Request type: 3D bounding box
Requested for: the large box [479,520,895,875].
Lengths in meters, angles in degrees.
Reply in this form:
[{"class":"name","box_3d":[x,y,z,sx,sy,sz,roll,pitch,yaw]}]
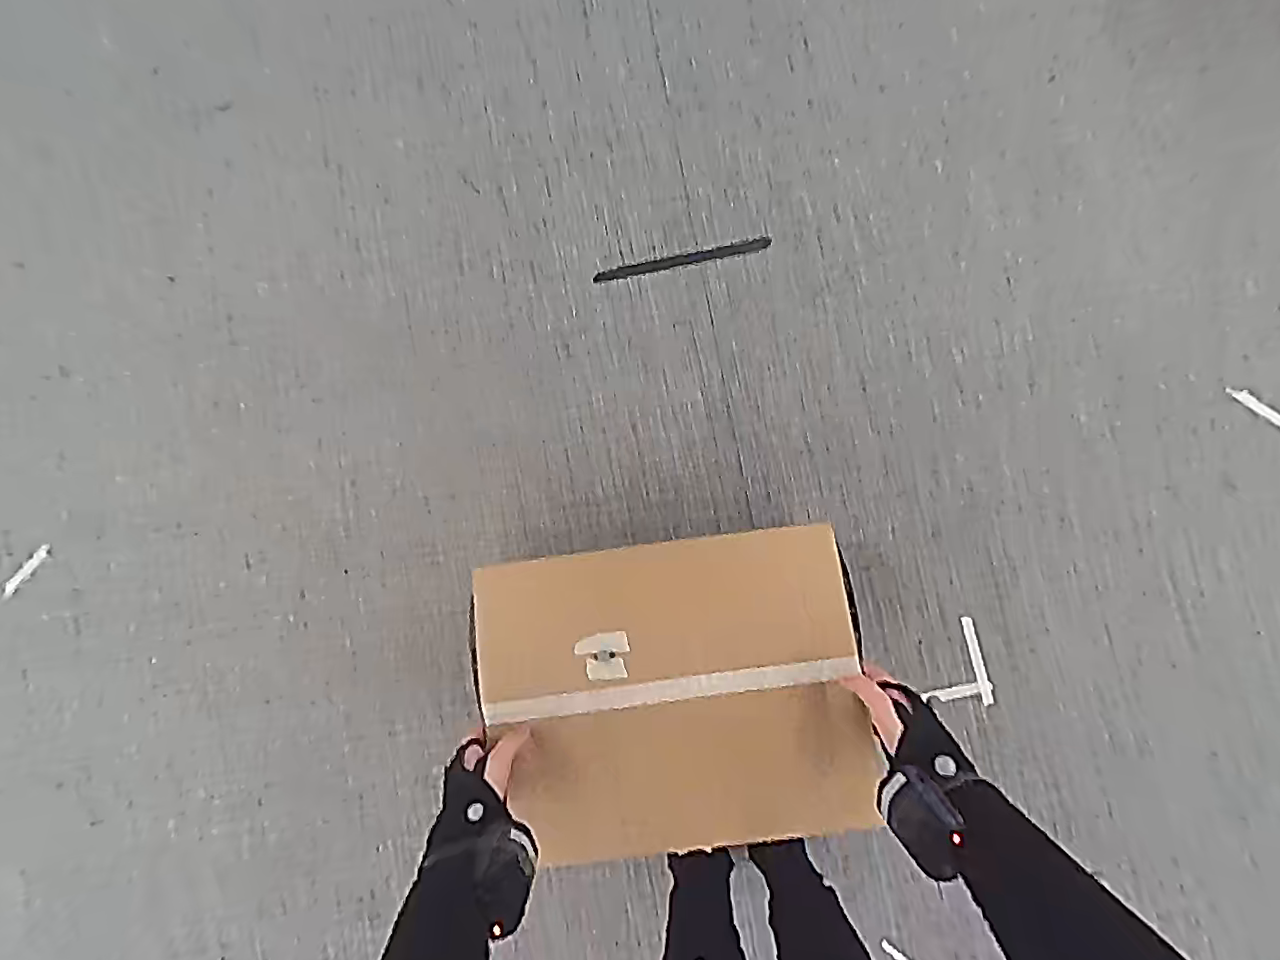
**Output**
[{"class":"large box","box_3d":[0.047,0.246,0.712,0.408,0.320,0.320,-8,79,2]}]
